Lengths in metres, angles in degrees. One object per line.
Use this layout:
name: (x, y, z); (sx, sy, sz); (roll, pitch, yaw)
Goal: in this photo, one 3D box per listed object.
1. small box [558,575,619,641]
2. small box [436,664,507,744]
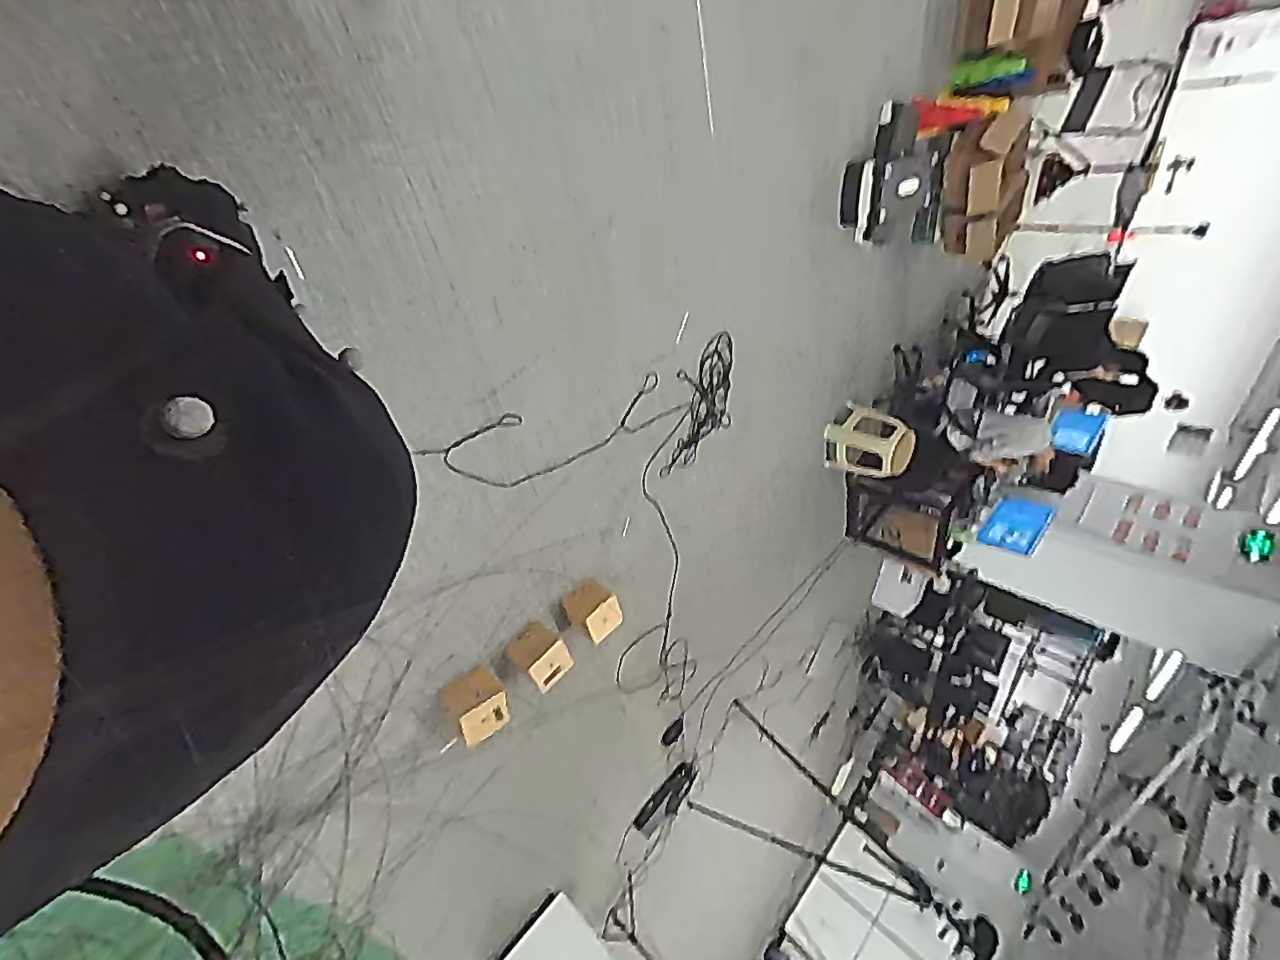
small box: (-0.215, 0.533, 2.274); (0.168, 0.176, 0.179); (-39, 133, -29)
small box: (-0.610, 0.805, 1.964); (0.179, 0.176, 0.168); (-25, 125, -37)
